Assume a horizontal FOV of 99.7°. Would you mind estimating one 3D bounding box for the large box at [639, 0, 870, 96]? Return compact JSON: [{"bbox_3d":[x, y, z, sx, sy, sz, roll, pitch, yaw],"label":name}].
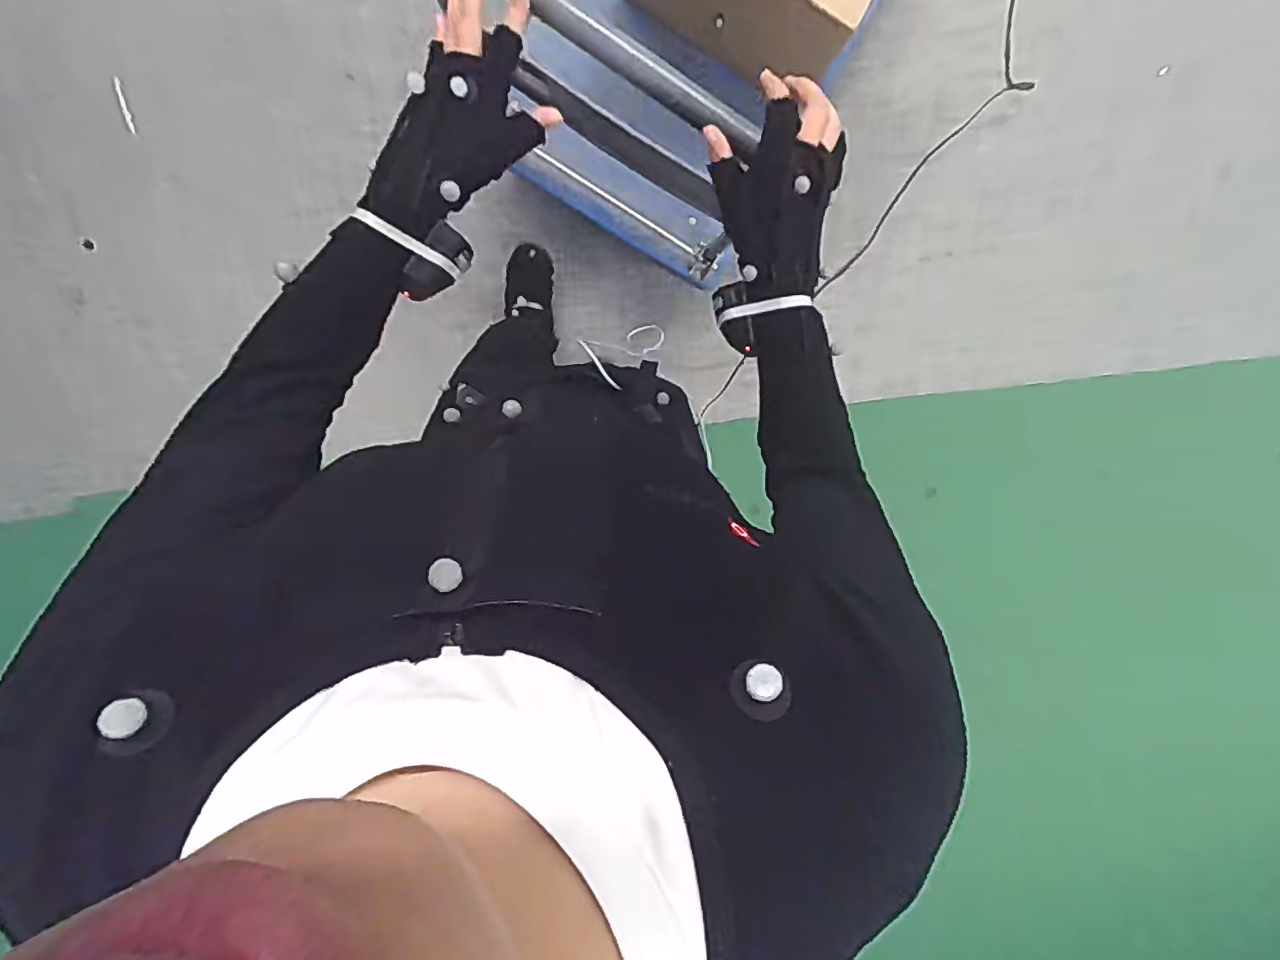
[{"bbox_3d":[0.218,-0.941,0.889,0.408,0.320,0.320,27,103,-7],"label":"large box"}]
